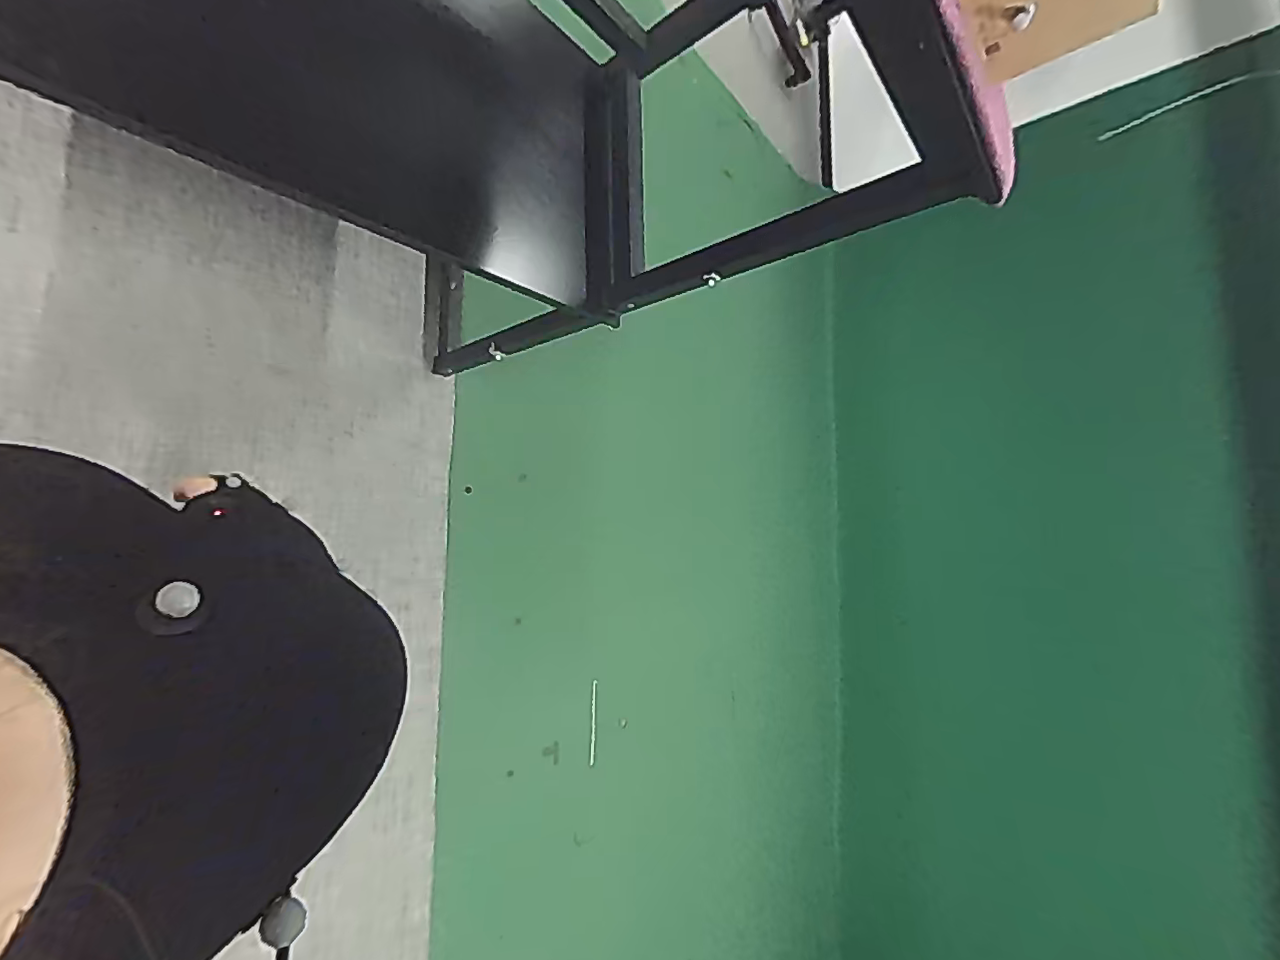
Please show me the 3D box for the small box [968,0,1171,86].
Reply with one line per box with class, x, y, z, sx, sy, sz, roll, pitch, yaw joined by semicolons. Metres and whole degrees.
small box;0.453;-0.587;0.578;0.168;0.176;0.179;13;78;-48
